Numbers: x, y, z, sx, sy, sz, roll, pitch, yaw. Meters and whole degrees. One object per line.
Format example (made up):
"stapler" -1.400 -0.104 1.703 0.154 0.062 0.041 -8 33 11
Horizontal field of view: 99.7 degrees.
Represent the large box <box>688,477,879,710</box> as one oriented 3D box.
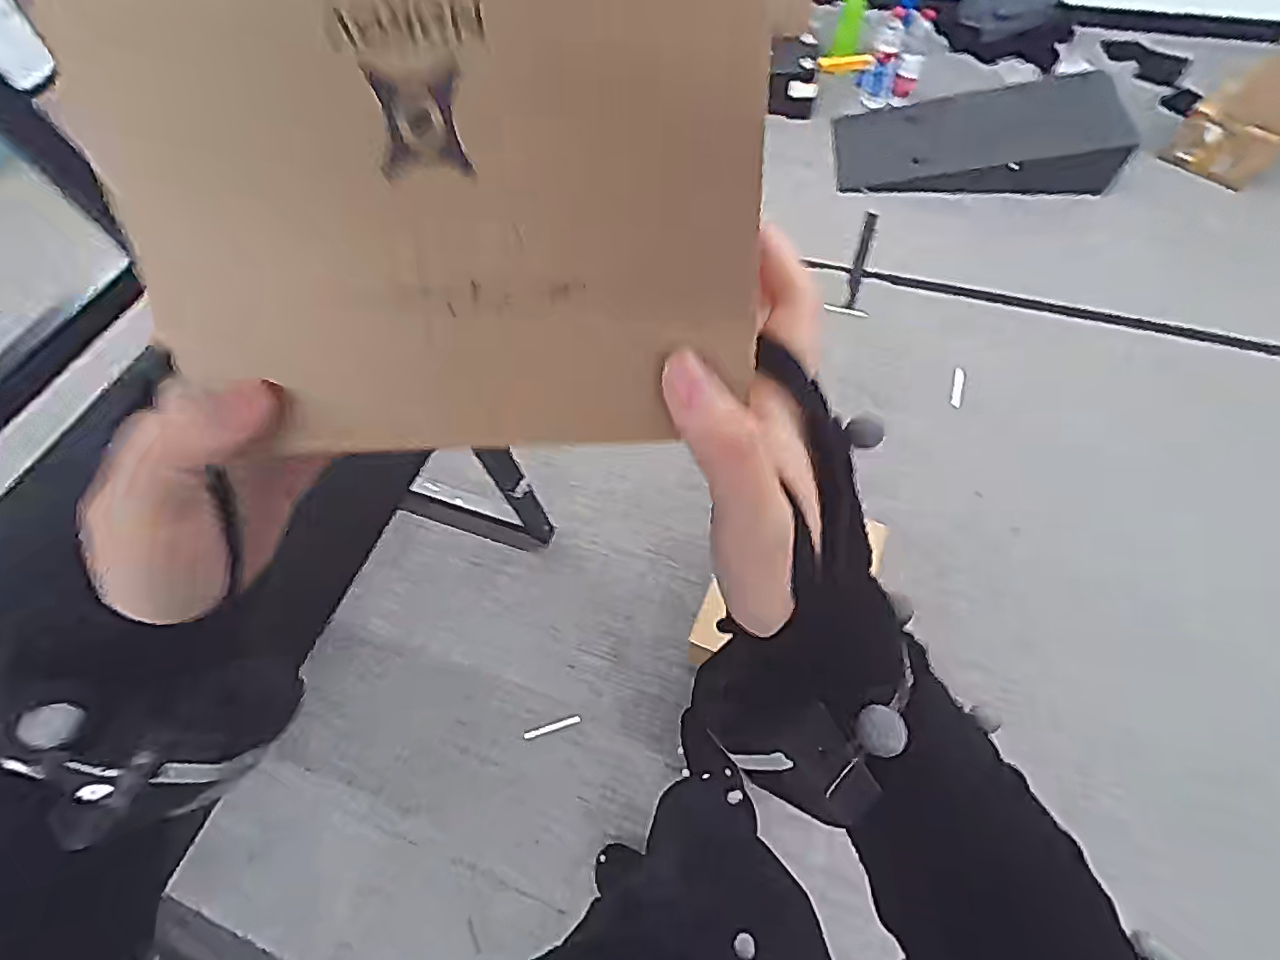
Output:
"large box" 0.321 0.274 1.273 0.320 0.320 0.408 20 65 13
